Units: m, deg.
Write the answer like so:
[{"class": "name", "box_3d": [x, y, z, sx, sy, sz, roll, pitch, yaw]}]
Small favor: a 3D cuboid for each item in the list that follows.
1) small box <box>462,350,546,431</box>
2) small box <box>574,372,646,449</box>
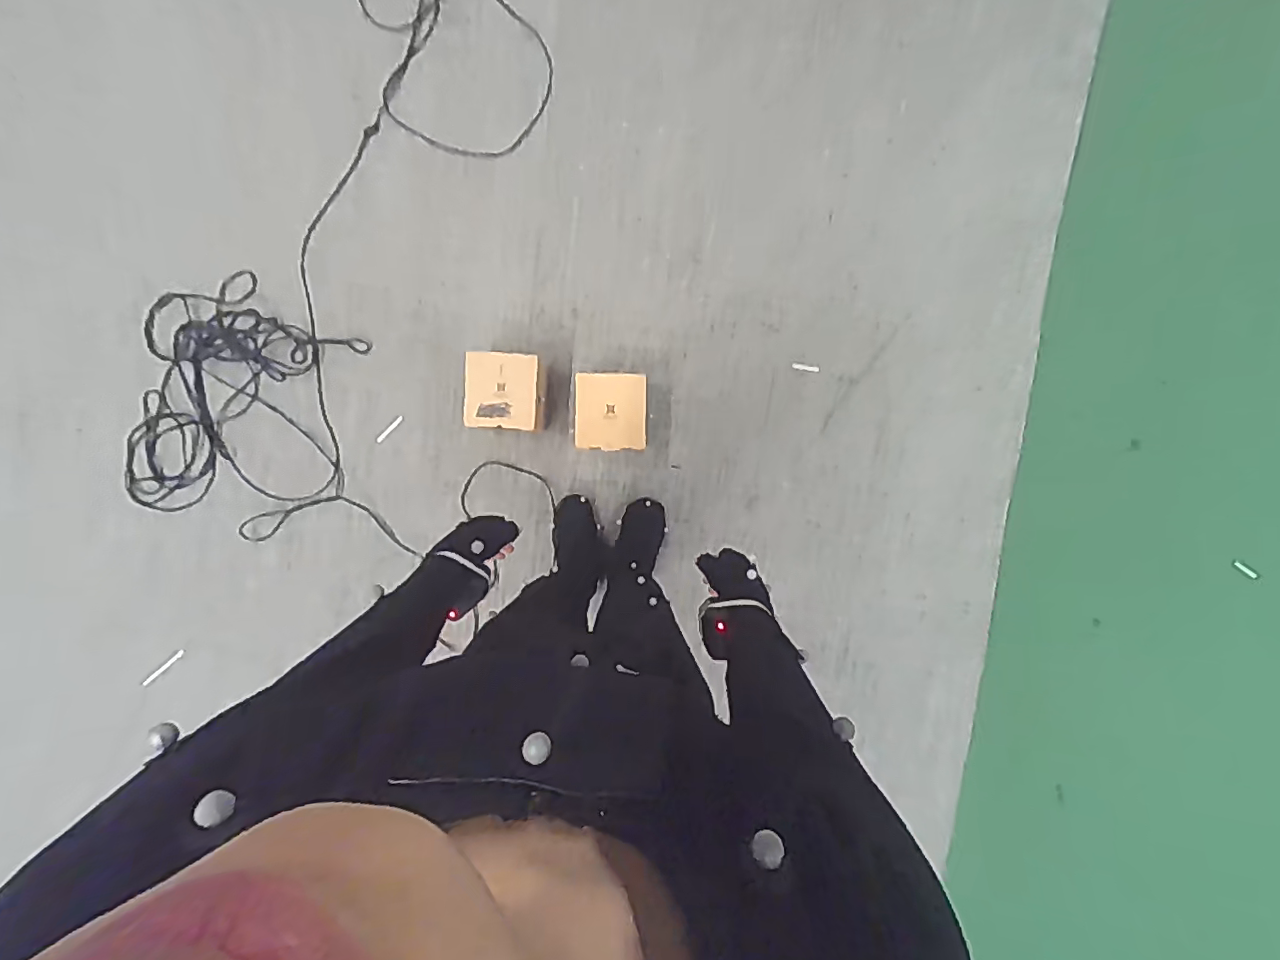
[{"class": "small box", "box_3d": [-0.324, -0.212, 1.312, 0.168, 0.176, 0.179, 4, 95, -2]}, {"class": "small box", "box_3d": [-0.073, -0.168, 1.326, 0.168, 0.176, 0.179, 1, 97, -2]}]
